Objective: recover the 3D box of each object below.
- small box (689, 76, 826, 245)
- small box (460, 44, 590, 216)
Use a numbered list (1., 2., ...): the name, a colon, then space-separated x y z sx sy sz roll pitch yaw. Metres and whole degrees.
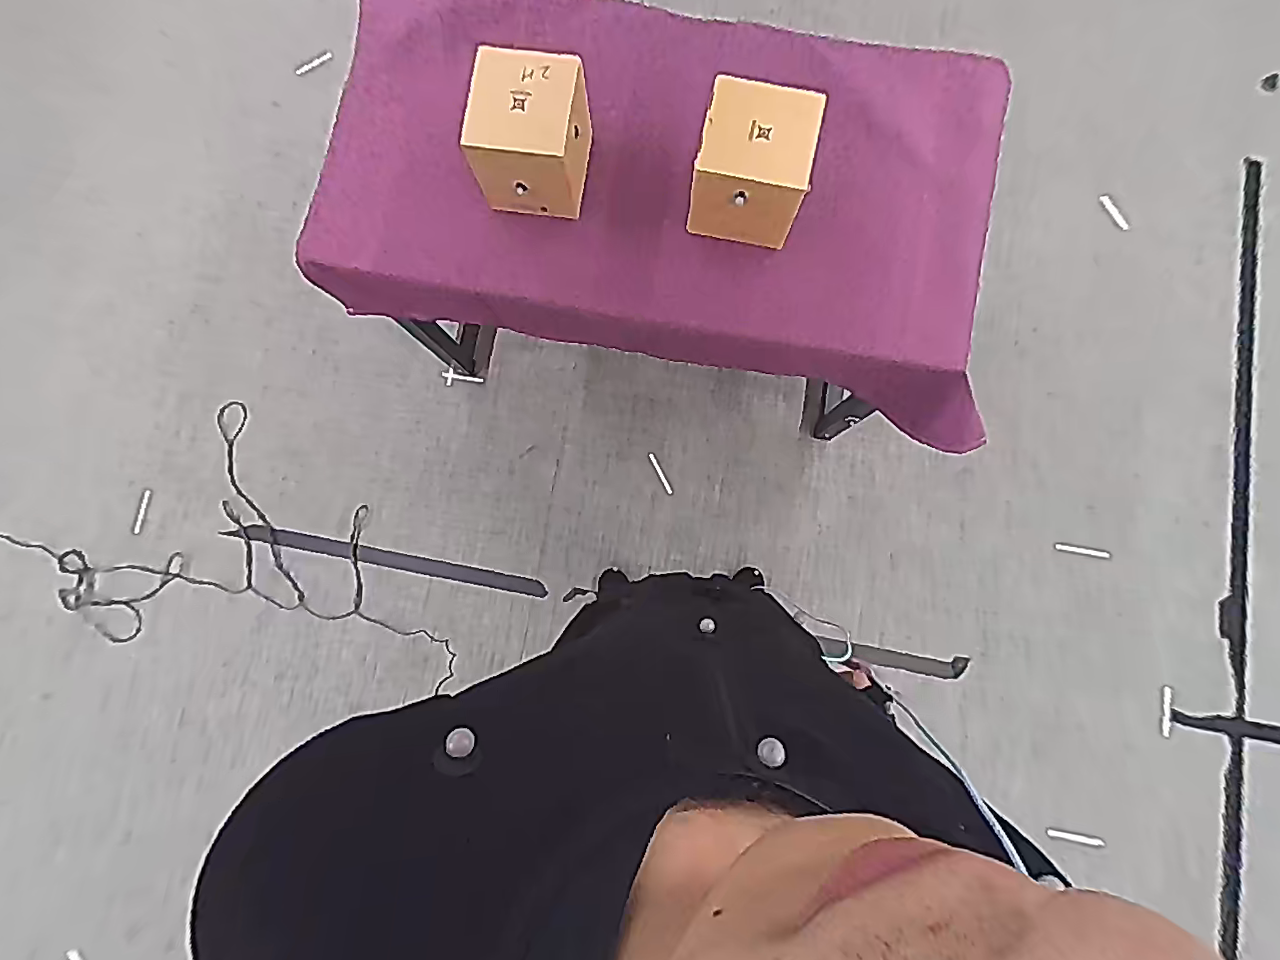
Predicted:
1. small box: 0.186 -0.519 0.903 0.179 0.176 0.168 13 84 4
2. small box: -0.184 -0.580 0.917 0.168 0.176 0.179 9 84 2
